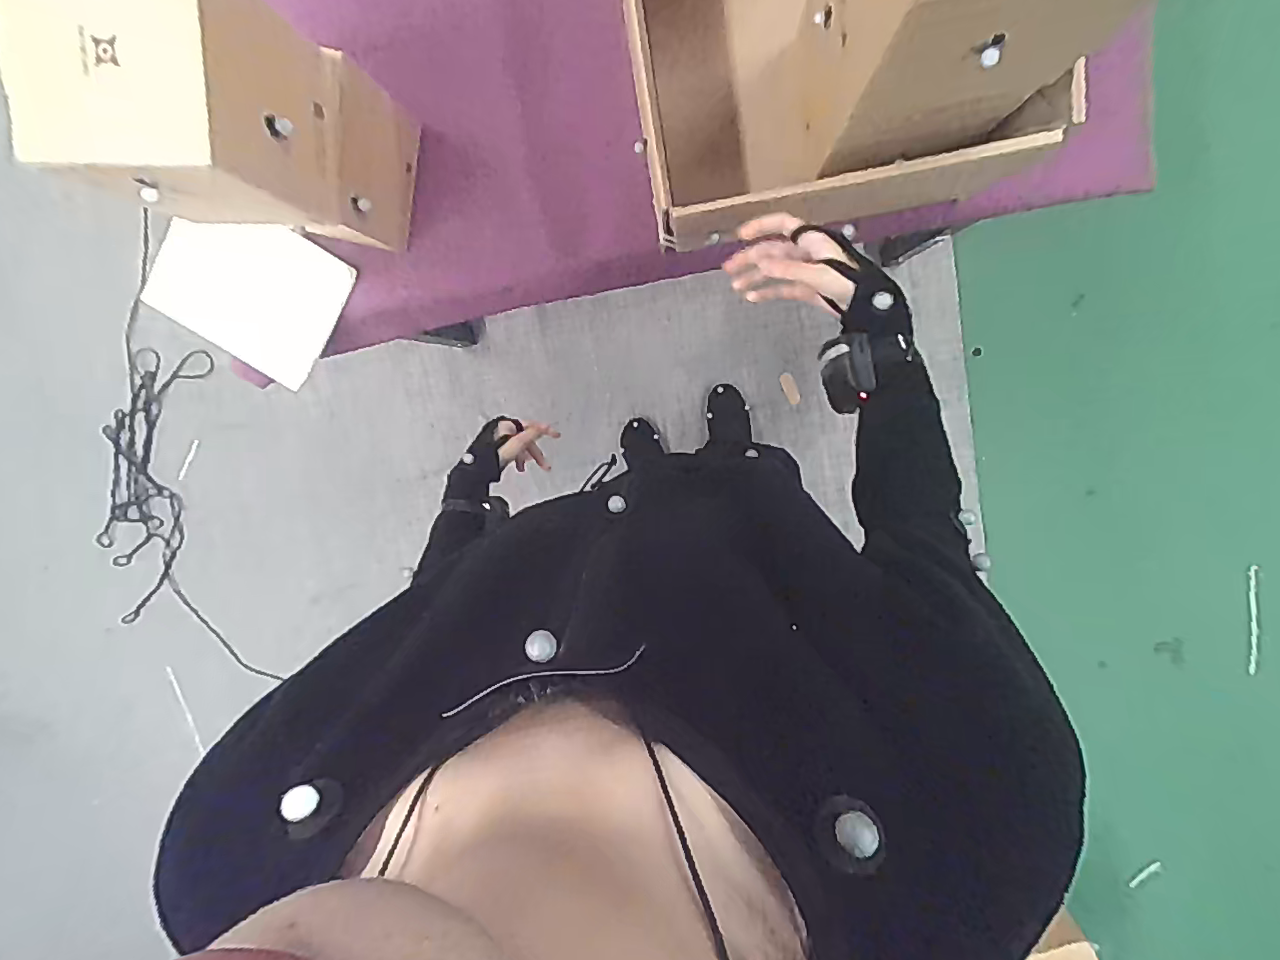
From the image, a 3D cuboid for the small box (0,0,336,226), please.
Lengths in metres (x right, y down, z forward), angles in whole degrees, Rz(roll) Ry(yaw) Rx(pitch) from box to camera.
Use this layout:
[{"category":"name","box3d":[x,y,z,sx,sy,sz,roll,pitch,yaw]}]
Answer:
[{"category":"small box","box3d":[-0.408,-0.346,0.499,0.179,0.176,0.168,3,100,5]}]

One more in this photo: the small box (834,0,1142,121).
[{"category":"small box","box3d":[0.248,-0.394,0.385,0.179,0.176,0.168,-7,99,8]}]
